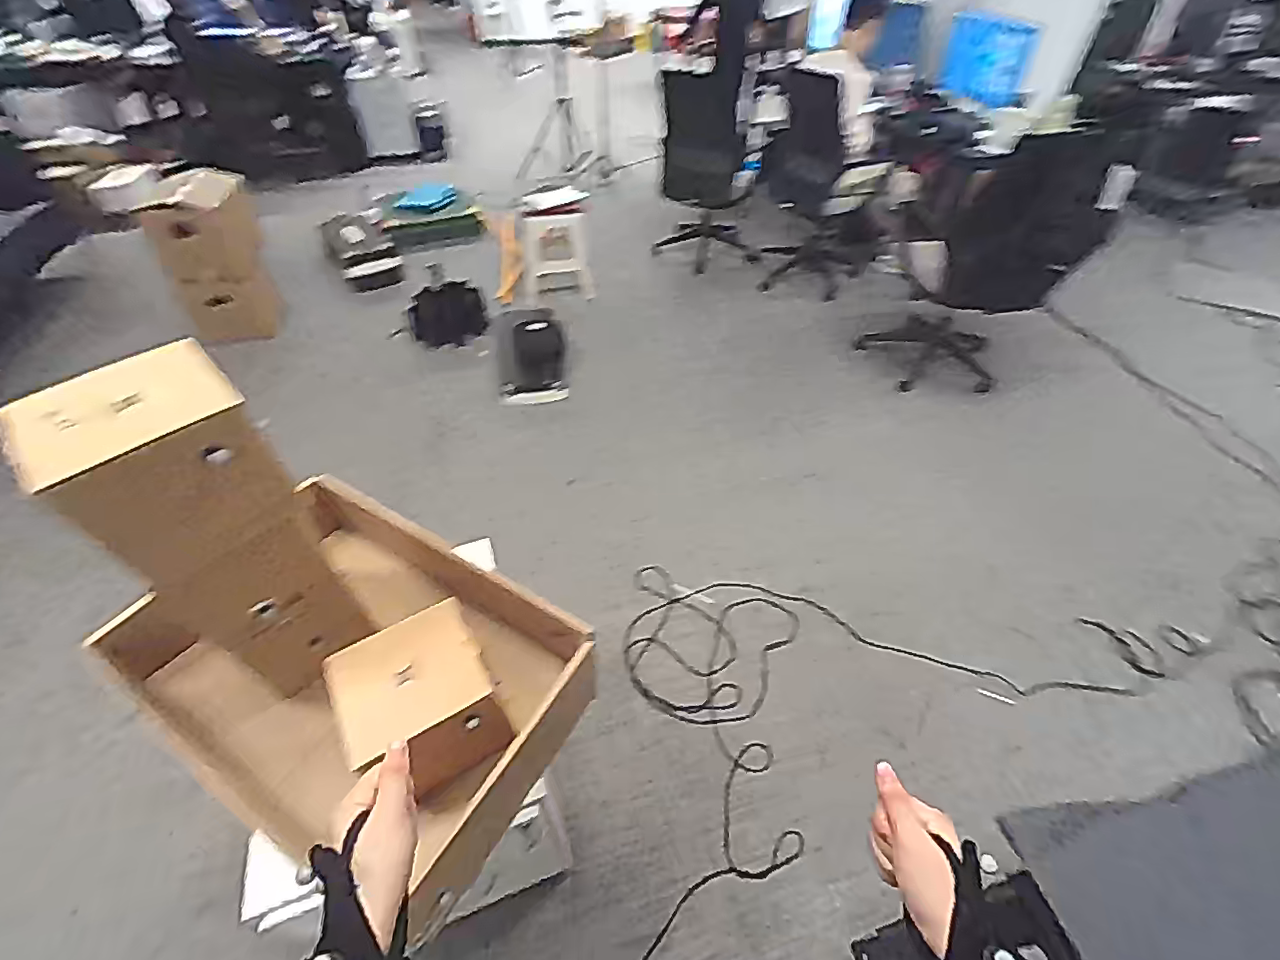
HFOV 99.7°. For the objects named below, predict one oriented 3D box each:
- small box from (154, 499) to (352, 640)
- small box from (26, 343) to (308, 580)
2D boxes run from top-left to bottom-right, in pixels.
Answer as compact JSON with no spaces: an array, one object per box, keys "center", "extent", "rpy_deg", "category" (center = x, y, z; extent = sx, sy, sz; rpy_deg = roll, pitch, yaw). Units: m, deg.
[{"center":[-0.539,0.085,0.749],"extent":[0.168,0.176,0.179],"rpy_deg":[-35,57,-26],"category":"small box"},{"center":[-0.521,-0.023,0.624],"extent":[0.168,0.176,0.179],"rpy_deg":[36,58,28],"category":"small box"}]
